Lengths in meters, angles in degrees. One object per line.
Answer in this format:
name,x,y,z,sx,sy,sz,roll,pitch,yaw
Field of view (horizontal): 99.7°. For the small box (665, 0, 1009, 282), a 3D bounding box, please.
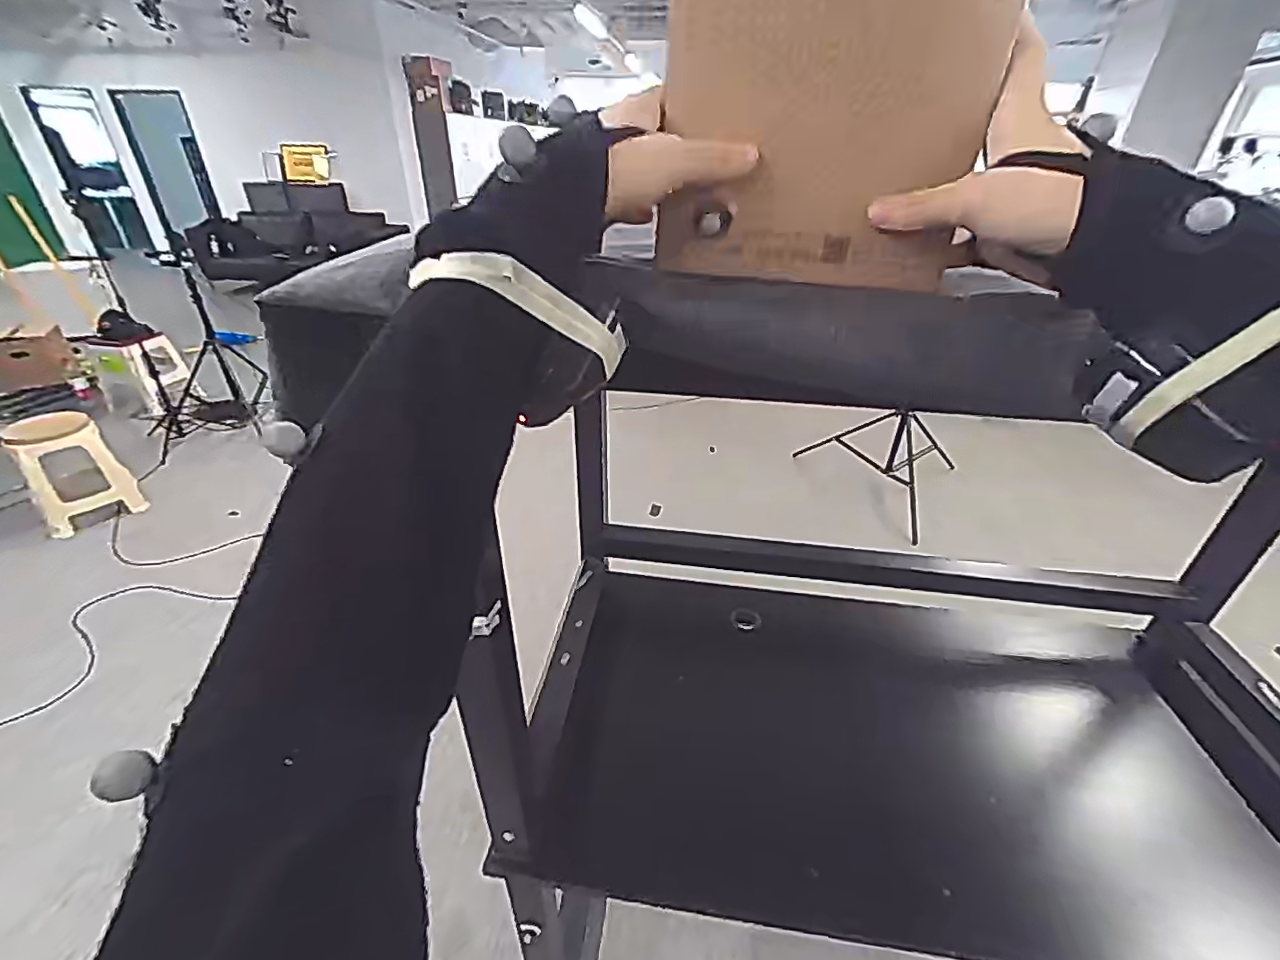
small box,0.110,-0.230,0.353,0.168,0.176,0.179,7,28,9
